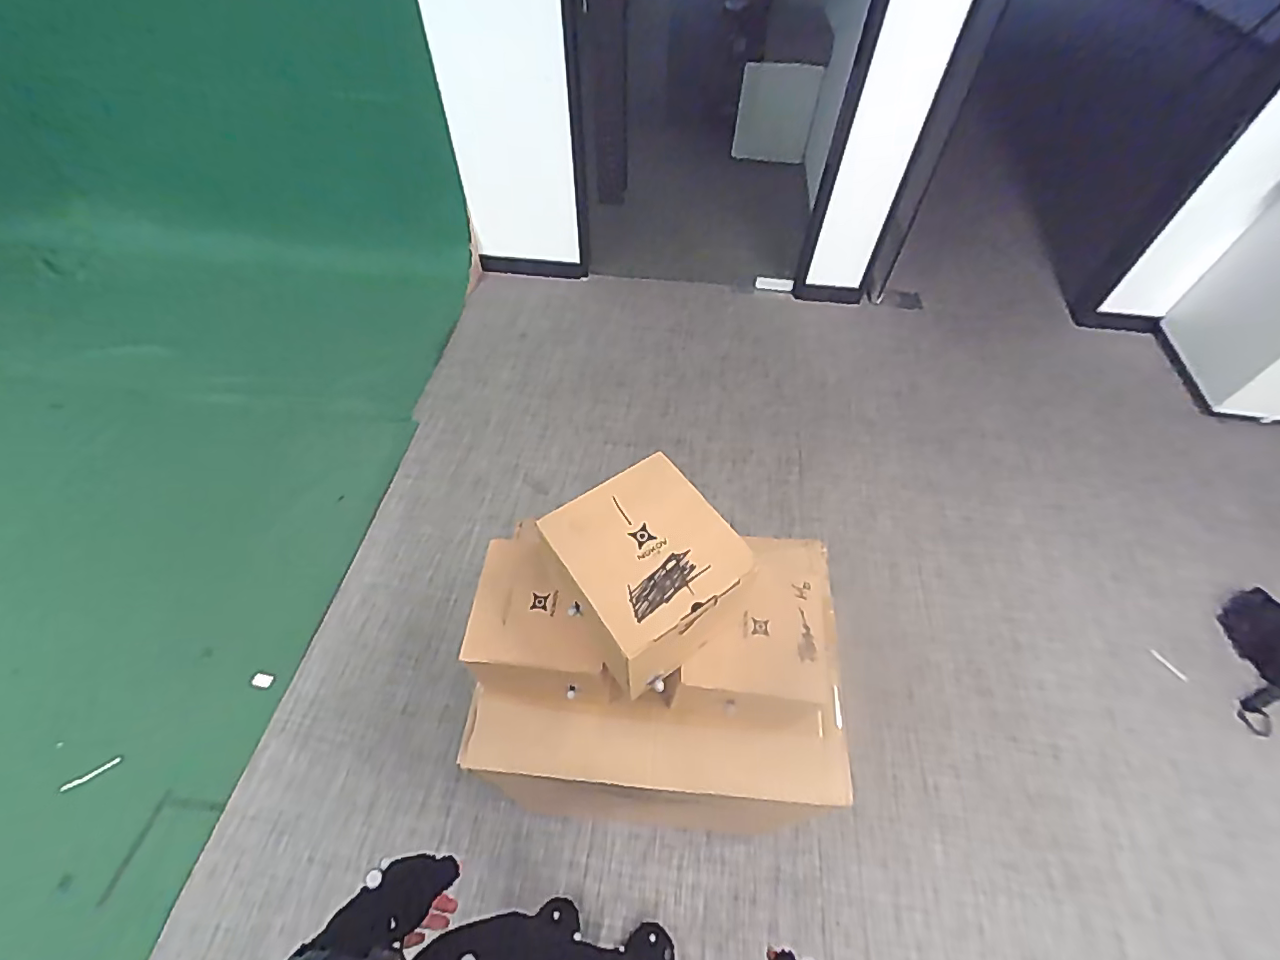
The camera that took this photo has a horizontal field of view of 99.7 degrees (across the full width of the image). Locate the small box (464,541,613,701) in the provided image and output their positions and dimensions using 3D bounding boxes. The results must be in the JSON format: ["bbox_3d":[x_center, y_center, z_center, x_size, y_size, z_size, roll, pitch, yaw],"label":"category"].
[{"bbox_3d":[-0.120,0.202,0.755,0.179,0.176,0.168,4,55,2],"label":"small box"}]

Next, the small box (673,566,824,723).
[{"bbox_3d":[0.140,0.226,0.745,0.179,0.176,0.168,6,57,4],"label":"small box"}]

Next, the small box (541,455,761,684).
[{"bbox_3d":[0.009,0.110,0.621,0.168,0.176,0.179,-30,60,-19],"label":"small box"}]
